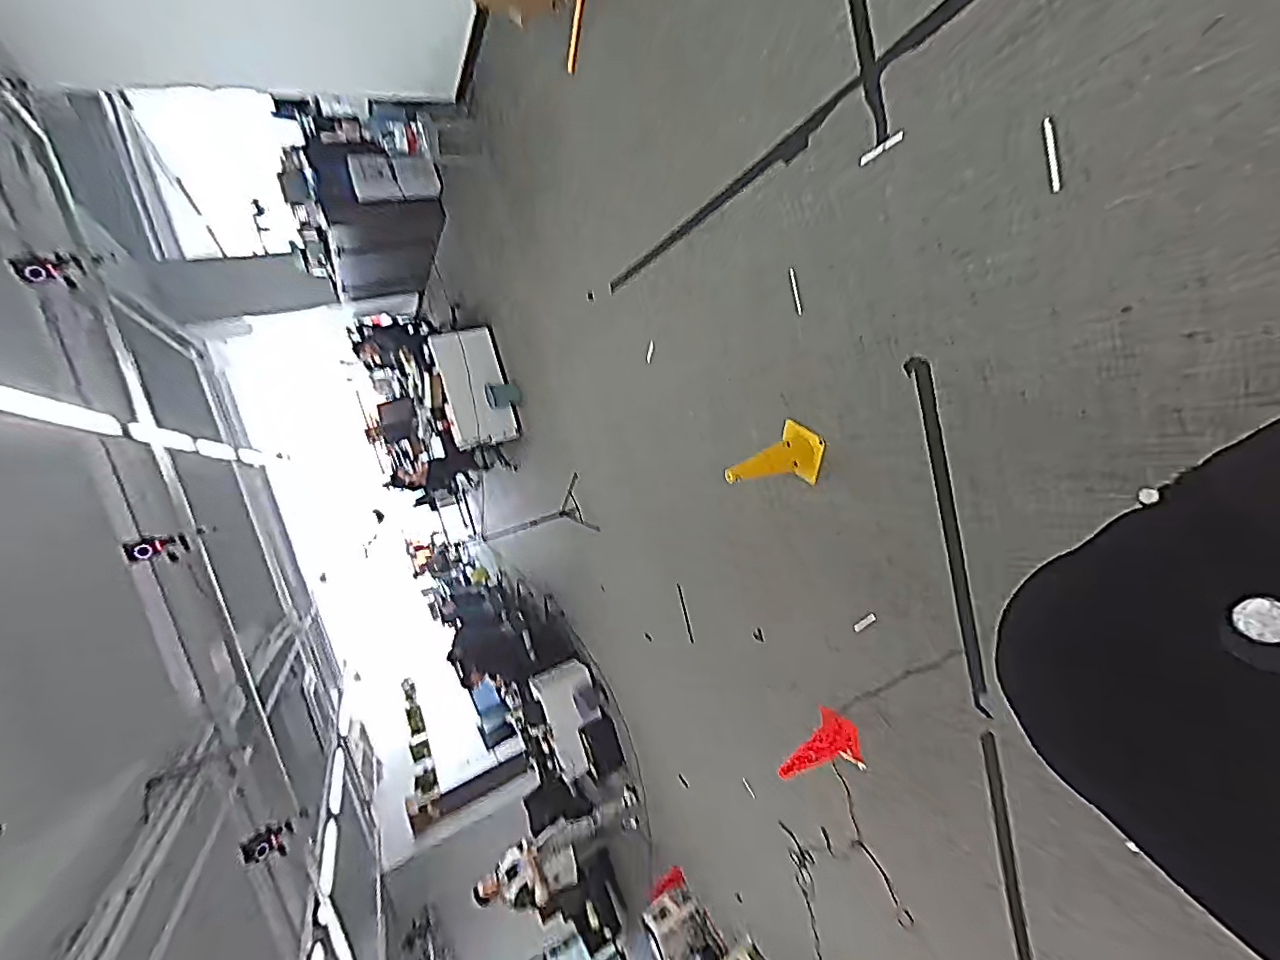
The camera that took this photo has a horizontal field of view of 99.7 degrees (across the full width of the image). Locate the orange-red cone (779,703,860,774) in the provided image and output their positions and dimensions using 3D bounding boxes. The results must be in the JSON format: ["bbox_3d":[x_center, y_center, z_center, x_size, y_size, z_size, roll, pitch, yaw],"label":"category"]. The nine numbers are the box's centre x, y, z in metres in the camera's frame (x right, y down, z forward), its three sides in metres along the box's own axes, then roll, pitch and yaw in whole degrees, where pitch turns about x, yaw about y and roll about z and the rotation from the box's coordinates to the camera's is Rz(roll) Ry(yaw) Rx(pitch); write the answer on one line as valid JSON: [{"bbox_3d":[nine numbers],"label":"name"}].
[{"bbox_3d":[0.741,1.151,2.317,0.198,0.360,0.199,15,118,60],"label":"orange-red cone"}]
